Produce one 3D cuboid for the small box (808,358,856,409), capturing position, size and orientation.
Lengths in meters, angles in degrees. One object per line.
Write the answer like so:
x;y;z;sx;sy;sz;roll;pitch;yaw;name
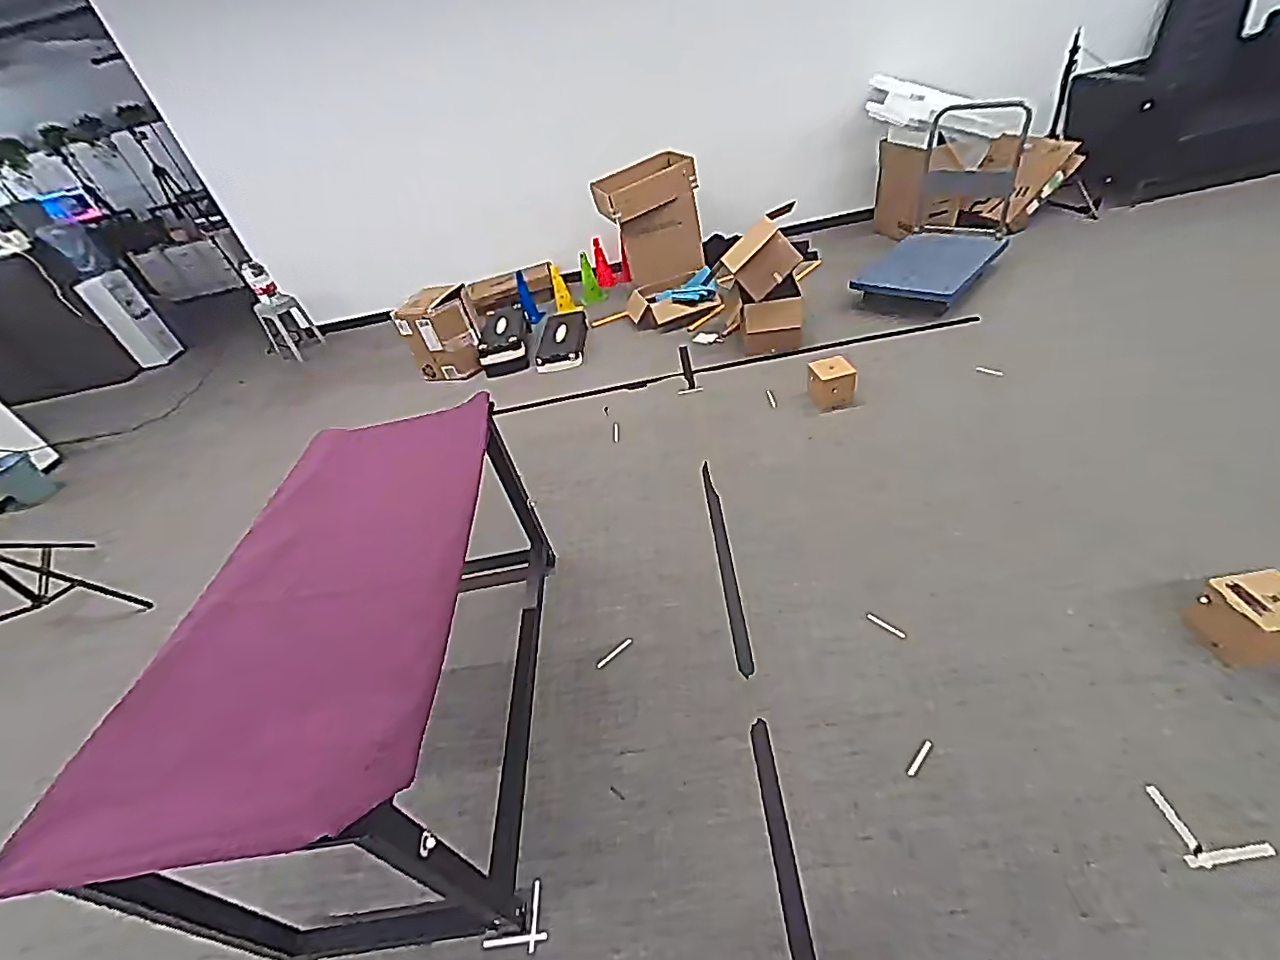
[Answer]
0.921;-0.456;2.594;0.168;0.176;0.179;-15;38;0;small box
